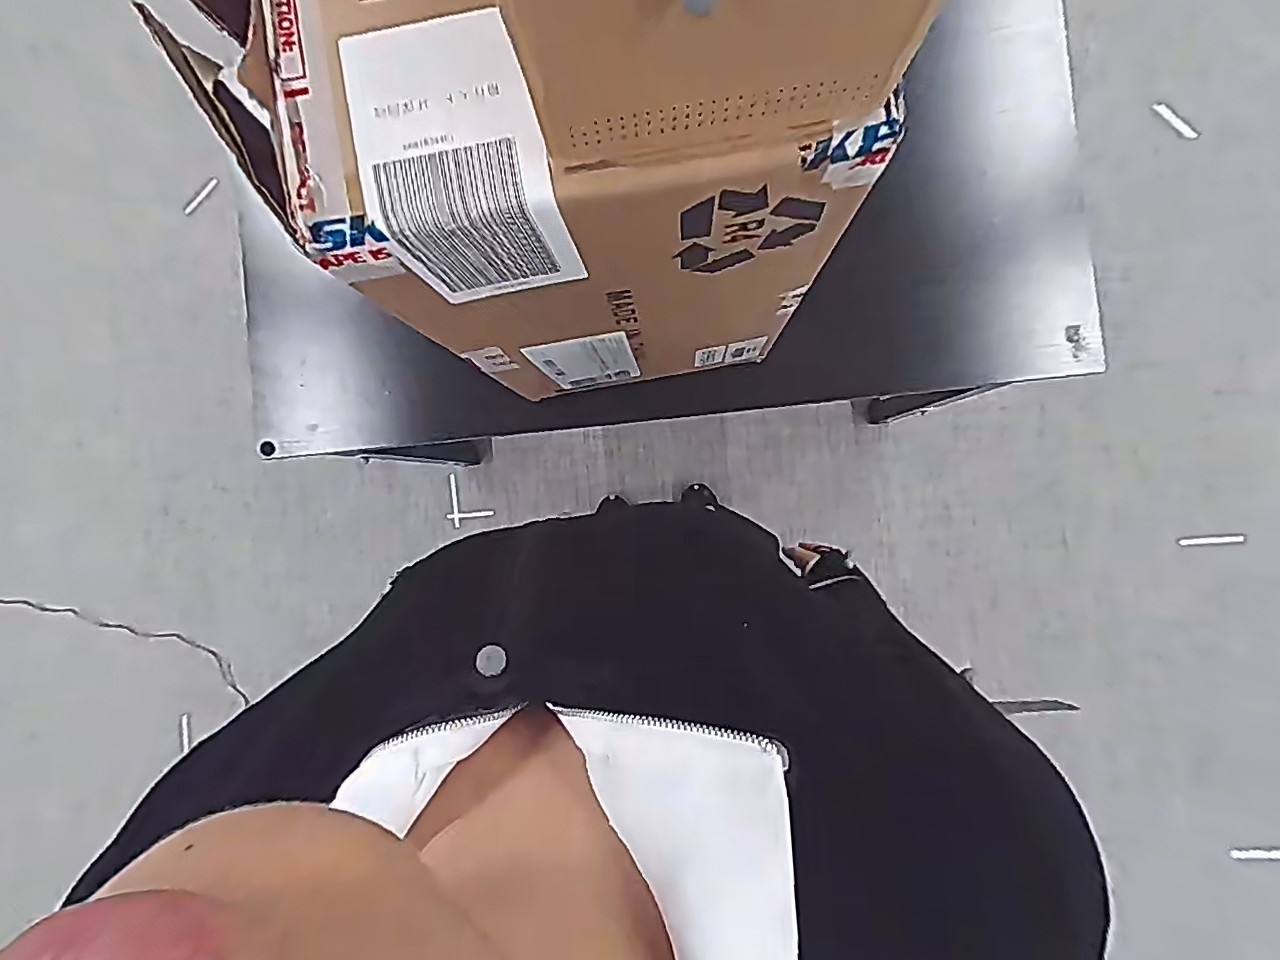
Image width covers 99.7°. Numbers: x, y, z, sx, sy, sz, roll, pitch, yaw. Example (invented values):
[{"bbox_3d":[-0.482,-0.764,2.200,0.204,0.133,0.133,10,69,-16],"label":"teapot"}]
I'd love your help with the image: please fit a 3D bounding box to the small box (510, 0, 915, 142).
[{"bbox_3d":[0.024,-0.265,0.206,0.179,0.176,0.168,-9,90,3],"label":"small box"}]
